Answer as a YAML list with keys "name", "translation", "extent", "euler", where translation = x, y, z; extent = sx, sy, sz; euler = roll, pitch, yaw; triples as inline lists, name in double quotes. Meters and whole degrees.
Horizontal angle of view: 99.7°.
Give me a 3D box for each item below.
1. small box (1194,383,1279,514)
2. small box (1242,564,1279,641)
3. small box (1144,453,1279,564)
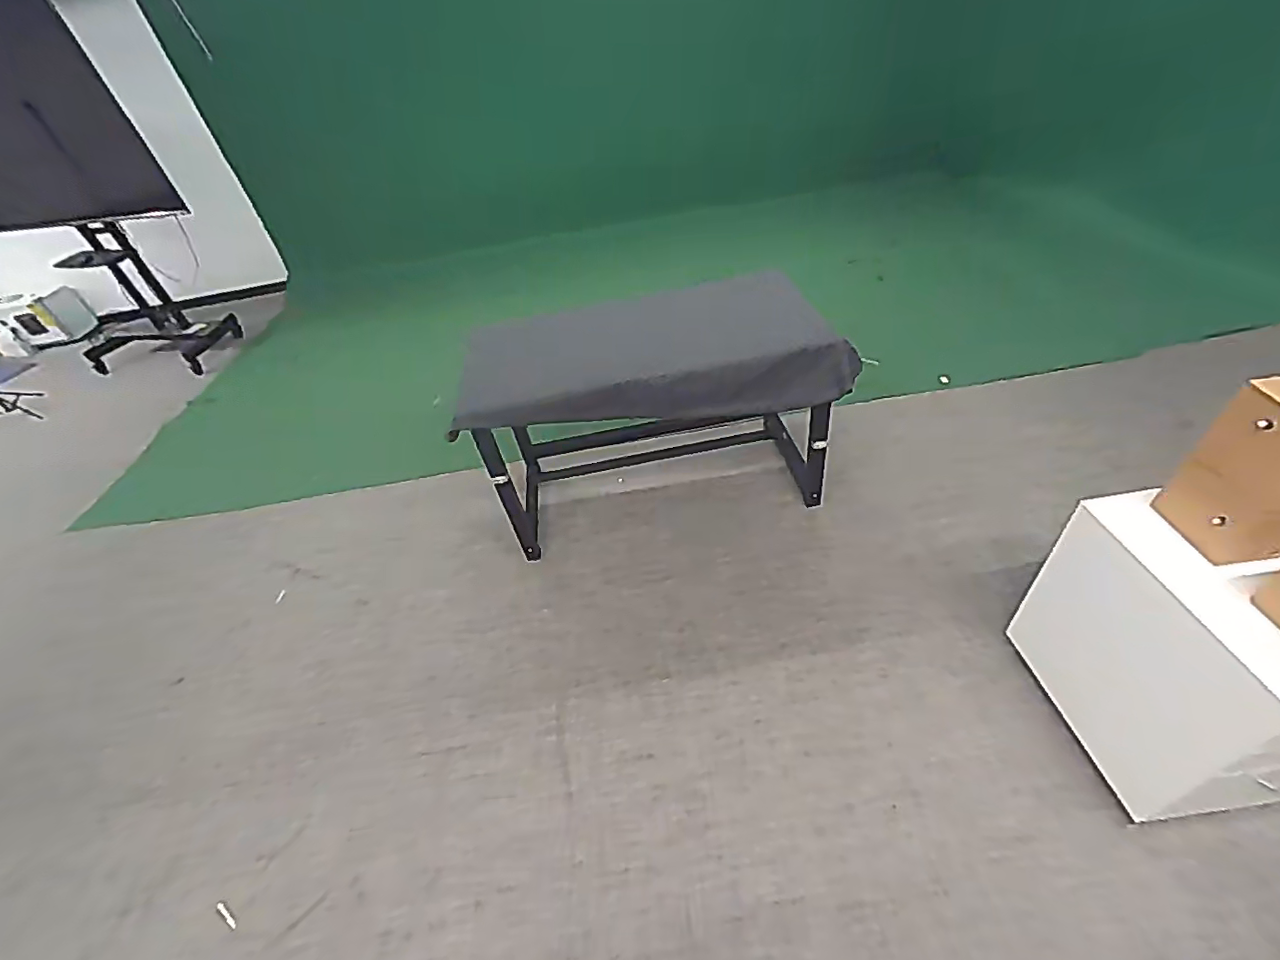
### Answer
- name: "small box"
  translation: [1.189, -0.062, 0.979]
  extent: [0.168, 0.176, 0.179]
  euler: [-7, 44, 1]
- name: "small box"
  translation: [1.214, 0.222, 0.910]
  extent: [0.168, 0.176, 0.179]
  euler: [-8, 43, 2]
- name: "small box"
  translation: [1.201, 0.055, 1.095]
  extent: [0.168, 0.176, 0.179]
  euler: [-7, 42, 0]
